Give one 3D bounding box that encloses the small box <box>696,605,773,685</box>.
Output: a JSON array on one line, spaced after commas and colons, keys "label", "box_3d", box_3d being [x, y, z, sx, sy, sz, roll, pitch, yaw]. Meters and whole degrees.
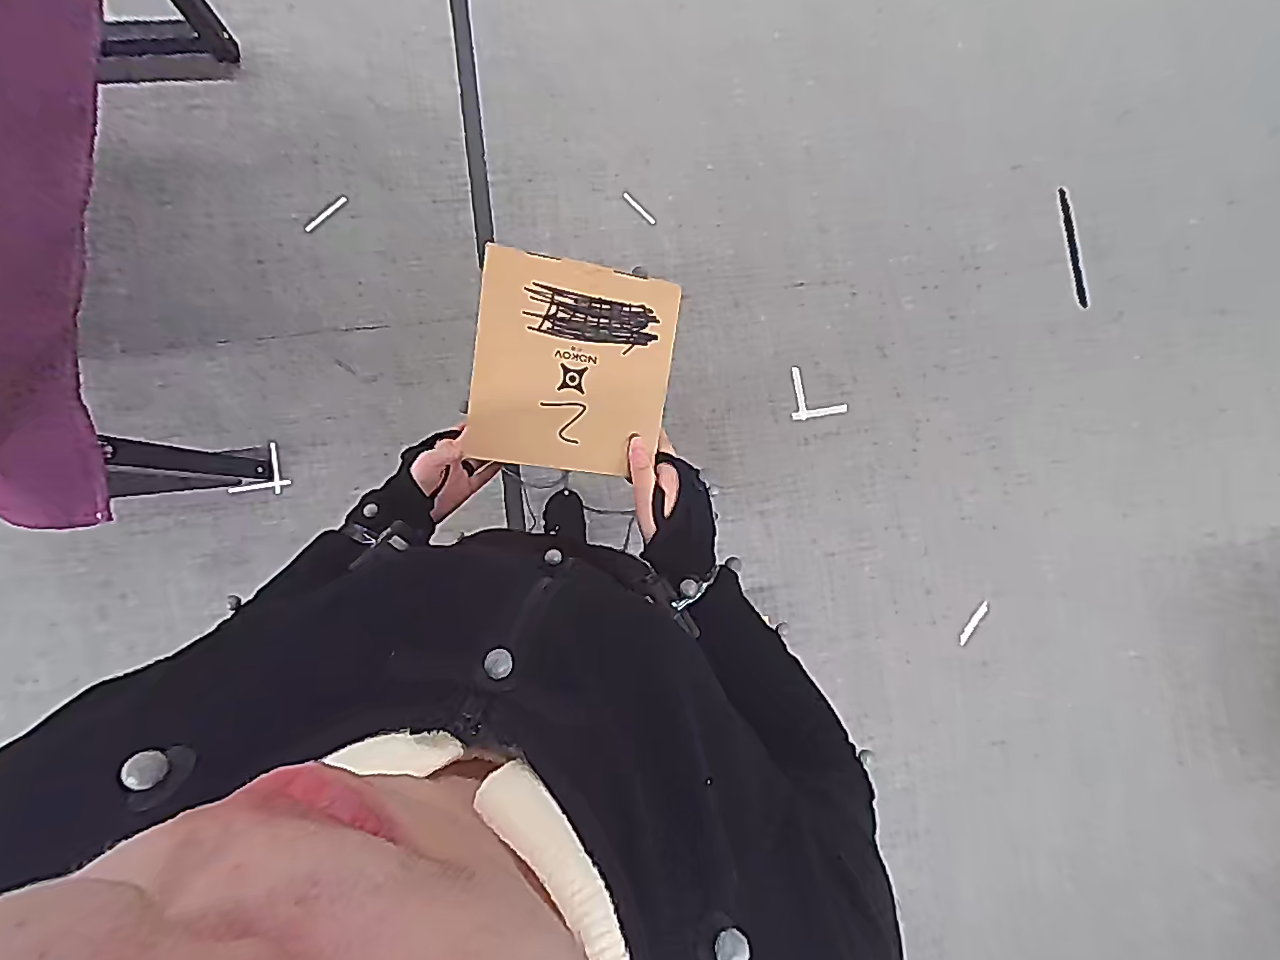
[{"label": "small box", "box_3d": [0.249, 0.437, 1.460, 0.168, 0.176, 0.179, -1, 87, -7]}]
